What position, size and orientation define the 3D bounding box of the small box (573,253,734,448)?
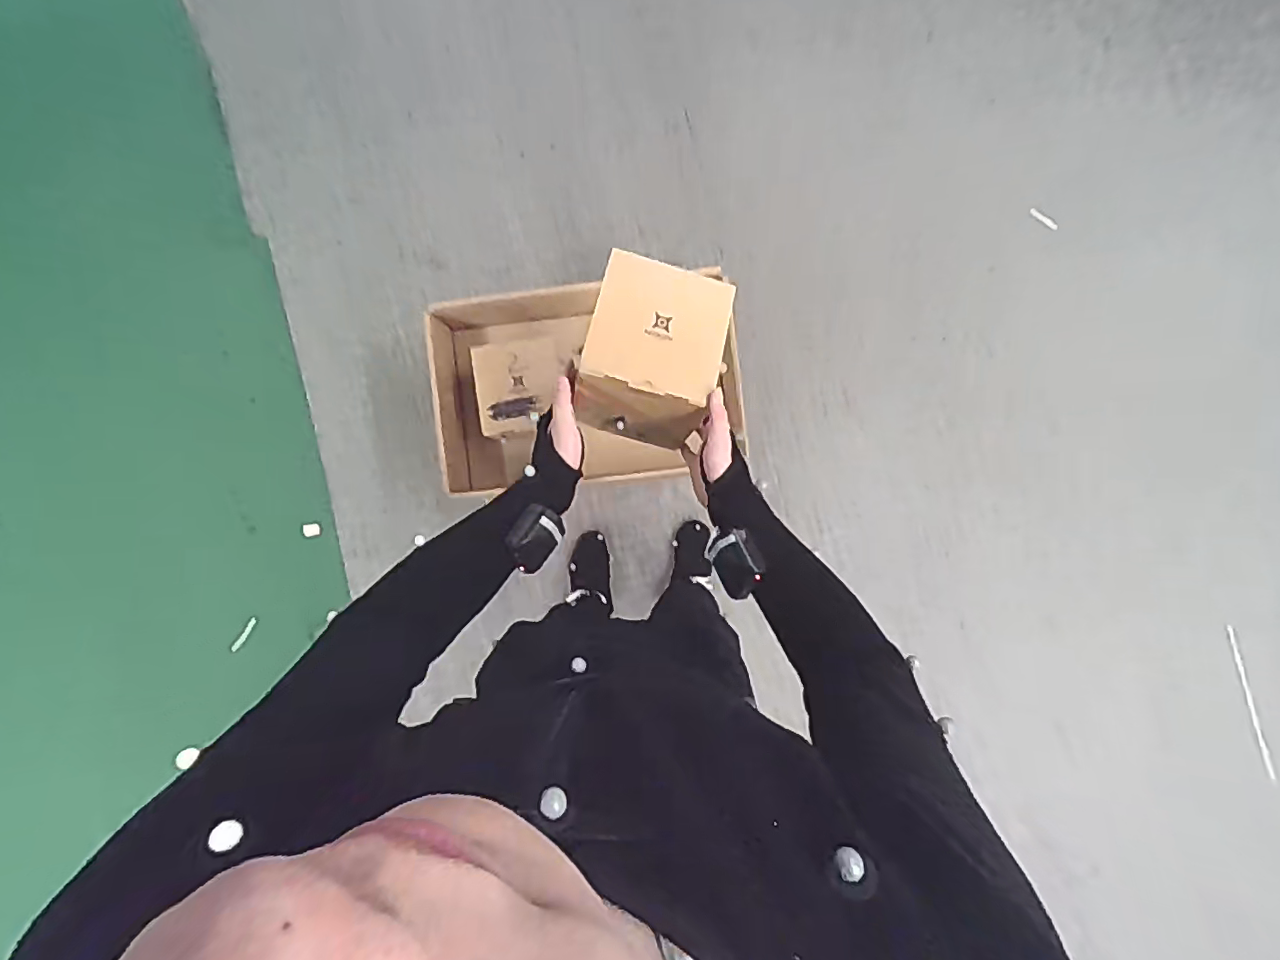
[{"bbox_3d":[0.010,-0.162,0.730,0.168,0.176,0.179,14,76,-8],"label":"small box"}]
